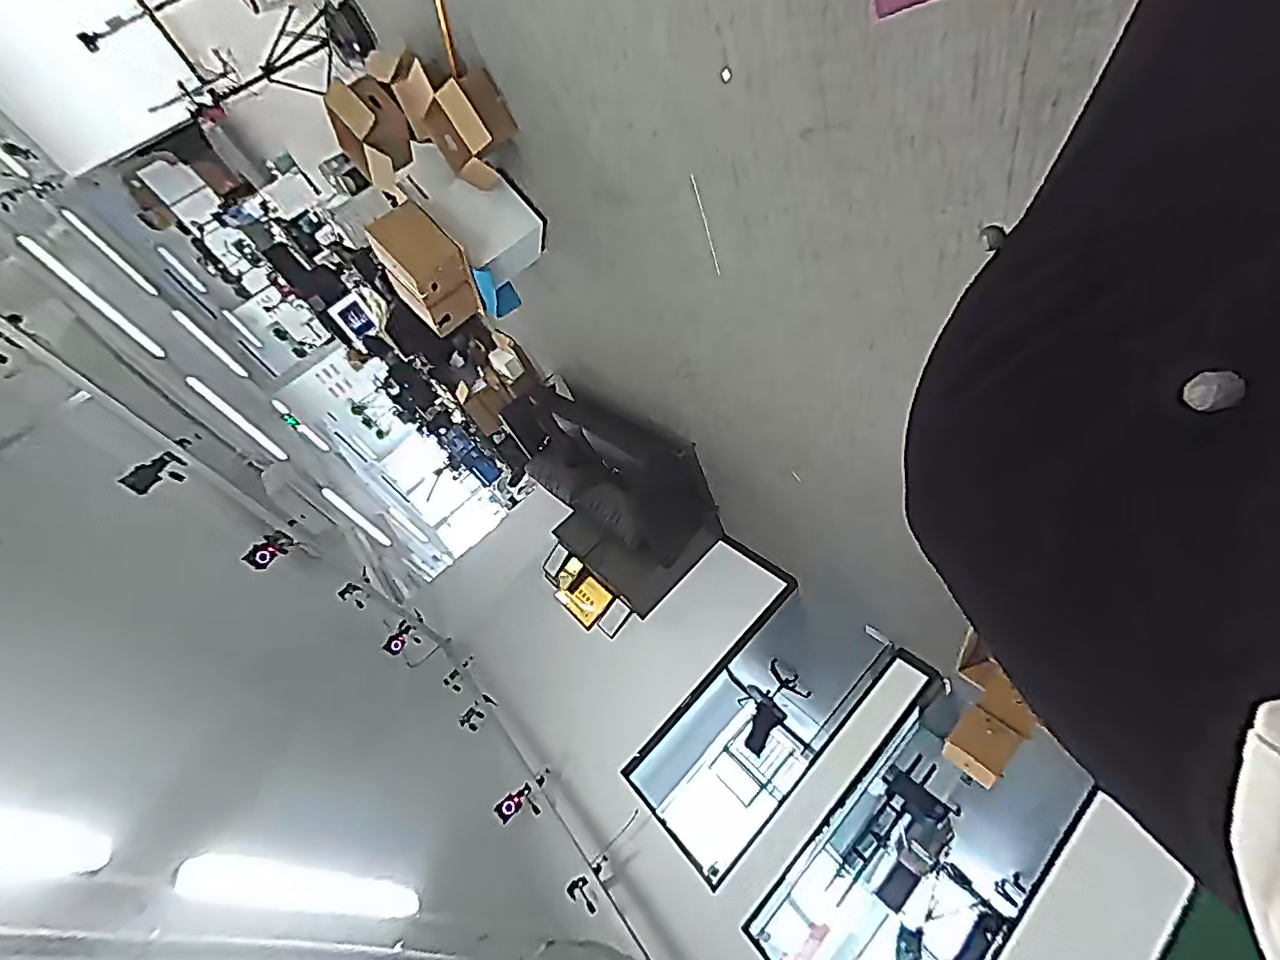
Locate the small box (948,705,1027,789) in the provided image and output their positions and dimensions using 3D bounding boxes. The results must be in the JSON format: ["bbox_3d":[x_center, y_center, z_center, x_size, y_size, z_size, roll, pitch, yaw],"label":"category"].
[{"bbox_3d":[1.196,0.918,1.863,0.168,0.176,0.179,34,157,41],"label":"small box"}]

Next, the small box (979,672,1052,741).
[{"bbox_3d":[1.319,0.822,1.919,0.168,0.176,0.179,35,159,40],"label":"small box"}]
